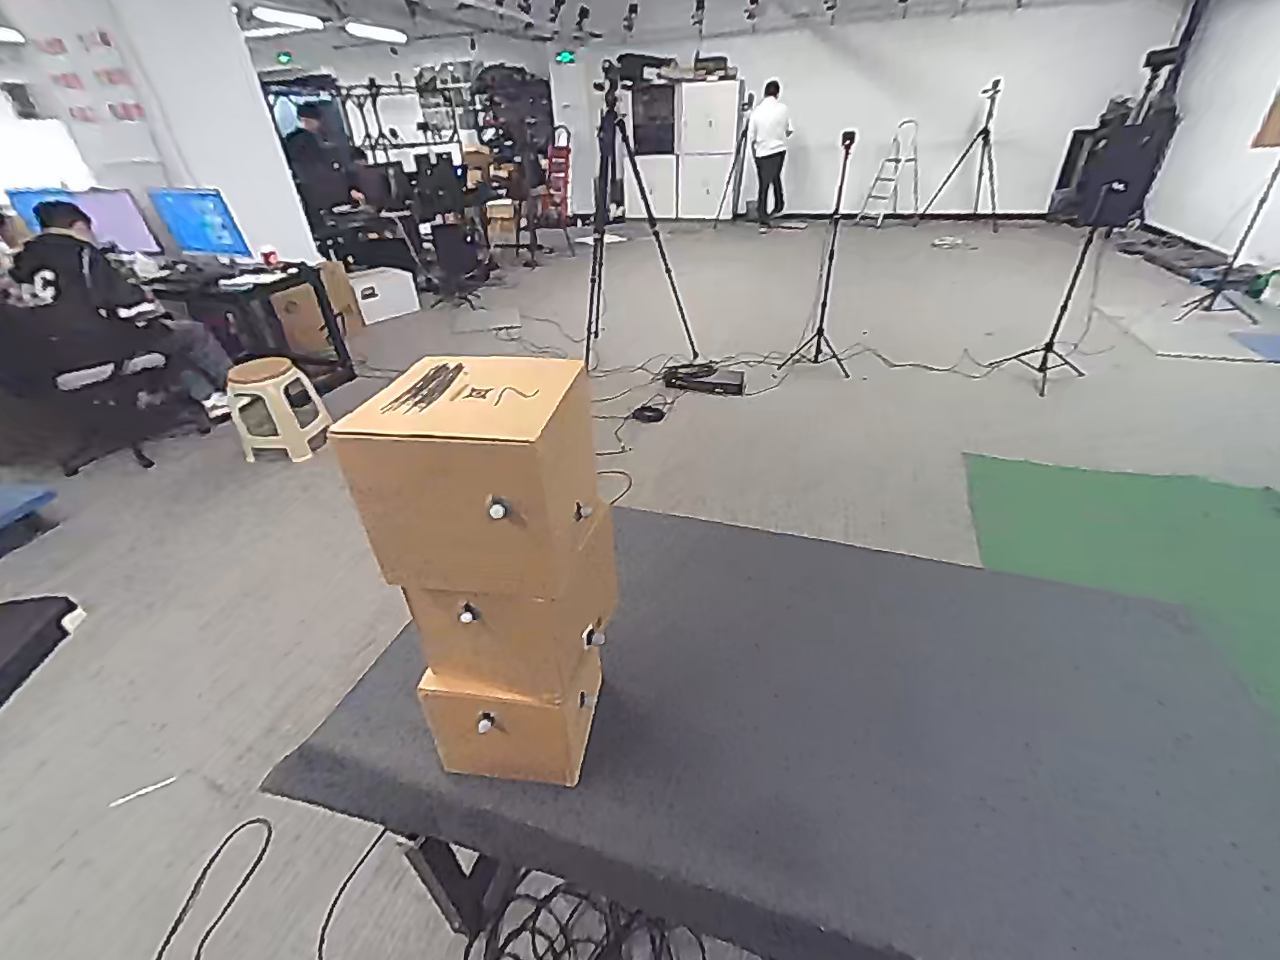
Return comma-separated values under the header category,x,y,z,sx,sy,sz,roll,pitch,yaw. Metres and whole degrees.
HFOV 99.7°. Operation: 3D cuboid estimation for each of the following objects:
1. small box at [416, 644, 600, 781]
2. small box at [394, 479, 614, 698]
category,x,y,z,sx,sy,sz,roll,pitch,yaw
small box,-0.153,0.262,0.703,0.179,0.176,0.168,3,33,8
small box,-0.139,0.121,0.622,0.179,0.176,0.168,9,35,15
